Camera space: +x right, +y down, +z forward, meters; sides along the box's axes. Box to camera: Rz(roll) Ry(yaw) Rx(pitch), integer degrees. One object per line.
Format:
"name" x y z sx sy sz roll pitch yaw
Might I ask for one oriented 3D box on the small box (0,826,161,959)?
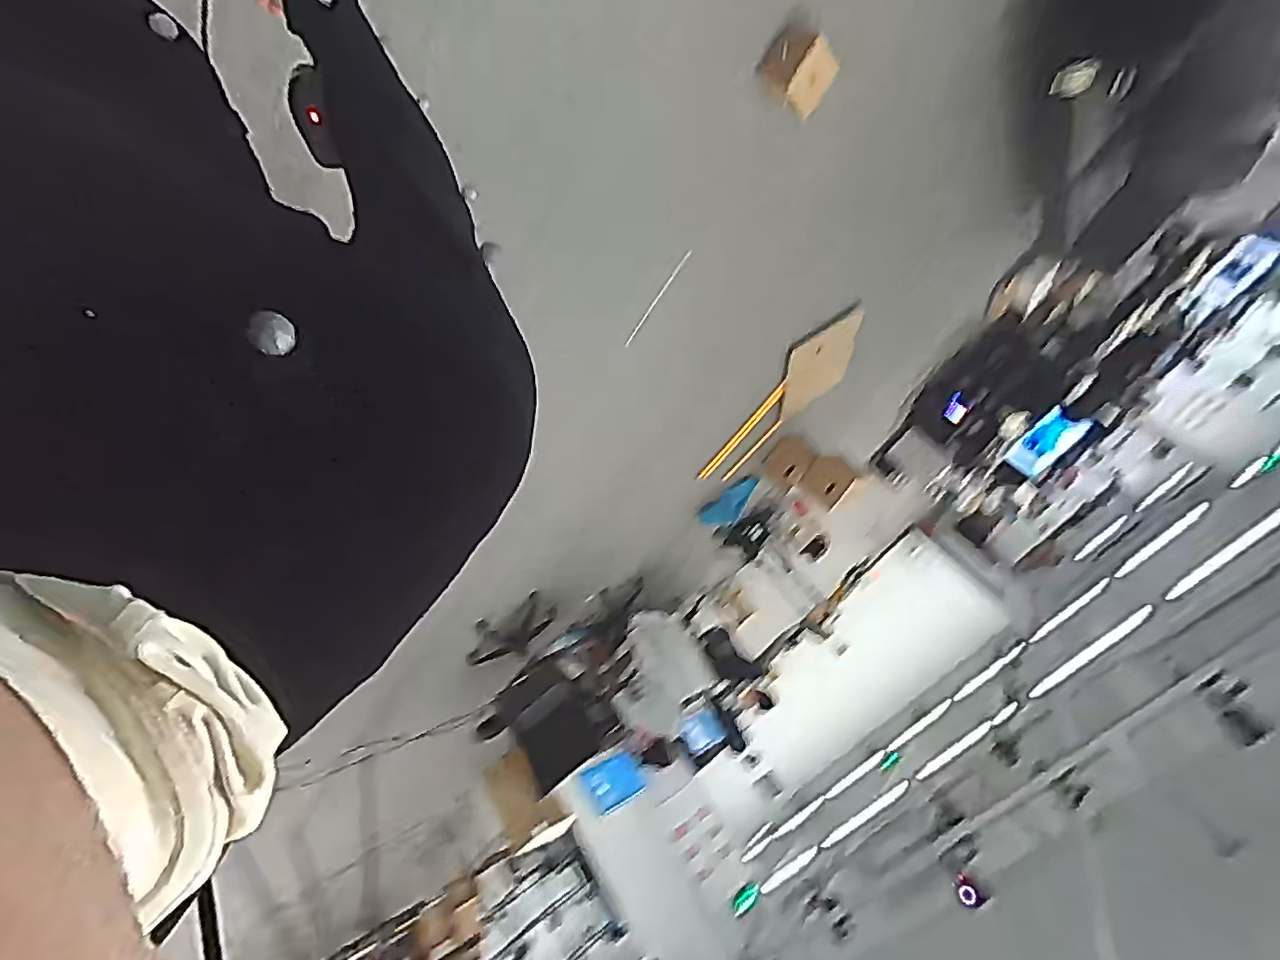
"small box" -0.790 0.622 0.738 0.168 0.176 0.179 6 125 -53

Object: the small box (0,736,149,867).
"small box" -0.883 0.517 0.820 0.168 0.176 0.179 6 127 -52

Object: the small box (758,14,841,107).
"small box" 0.522 -1.388 1.785 0.179 0.176 0.168 3 131 -52

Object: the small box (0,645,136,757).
"small box" -0.973 0.403 0.898 0.168 0.176 0.179 7 125 -53
